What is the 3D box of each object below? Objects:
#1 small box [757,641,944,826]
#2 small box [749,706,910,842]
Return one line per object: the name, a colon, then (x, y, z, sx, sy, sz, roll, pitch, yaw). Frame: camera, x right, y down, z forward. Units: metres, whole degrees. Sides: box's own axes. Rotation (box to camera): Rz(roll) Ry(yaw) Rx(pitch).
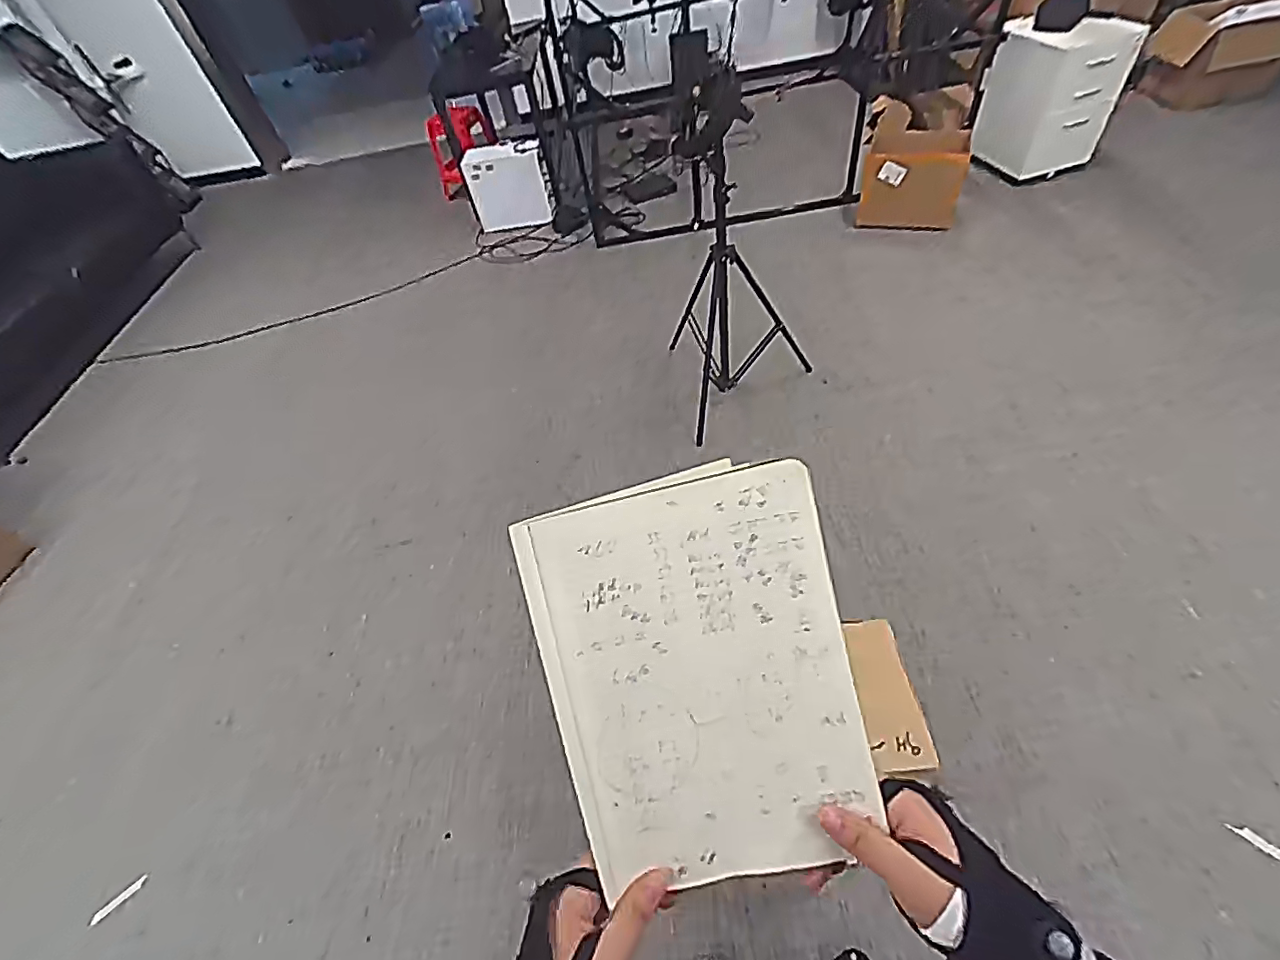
small box: (0.251, 0.330, 0.700, 0.168, 0.176, 0.179, -6, 51, 2)
small box: (0.271, 0.439, 0.822, 0.179, 0.176, 0.168, -9, 51, 2)
